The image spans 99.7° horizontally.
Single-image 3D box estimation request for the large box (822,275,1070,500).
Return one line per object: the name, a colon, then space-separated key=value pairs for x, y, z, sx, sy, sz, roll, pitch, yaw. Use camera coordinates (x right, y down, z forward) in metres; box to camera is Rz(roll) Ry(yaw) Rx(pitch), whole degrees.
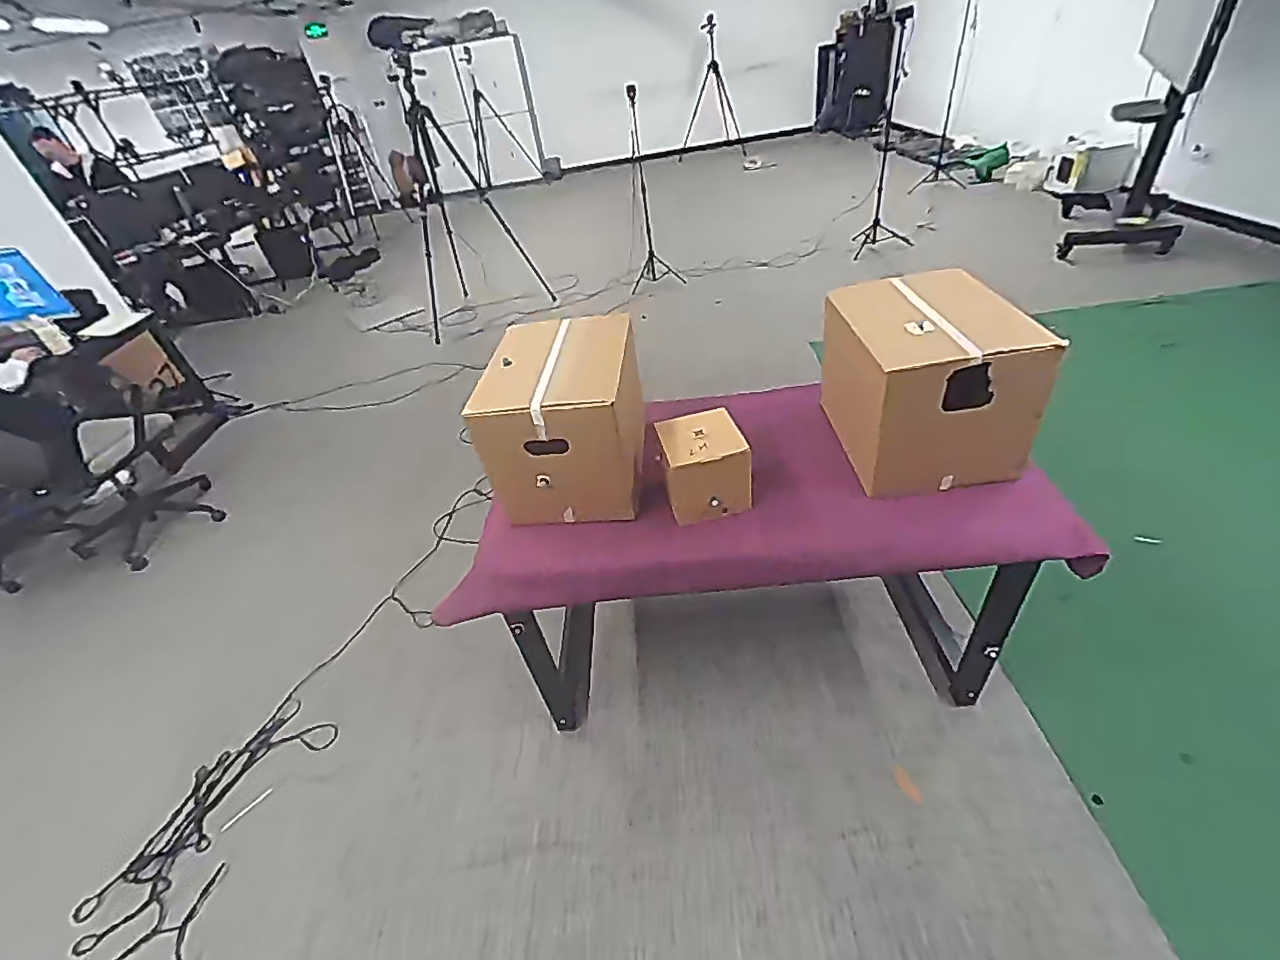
large box: x=0.619 y=-0.214 z=1.198 sx=0.320 sy=0.320 sz=0.408 roll=-9 pitch=39 yaw=6
